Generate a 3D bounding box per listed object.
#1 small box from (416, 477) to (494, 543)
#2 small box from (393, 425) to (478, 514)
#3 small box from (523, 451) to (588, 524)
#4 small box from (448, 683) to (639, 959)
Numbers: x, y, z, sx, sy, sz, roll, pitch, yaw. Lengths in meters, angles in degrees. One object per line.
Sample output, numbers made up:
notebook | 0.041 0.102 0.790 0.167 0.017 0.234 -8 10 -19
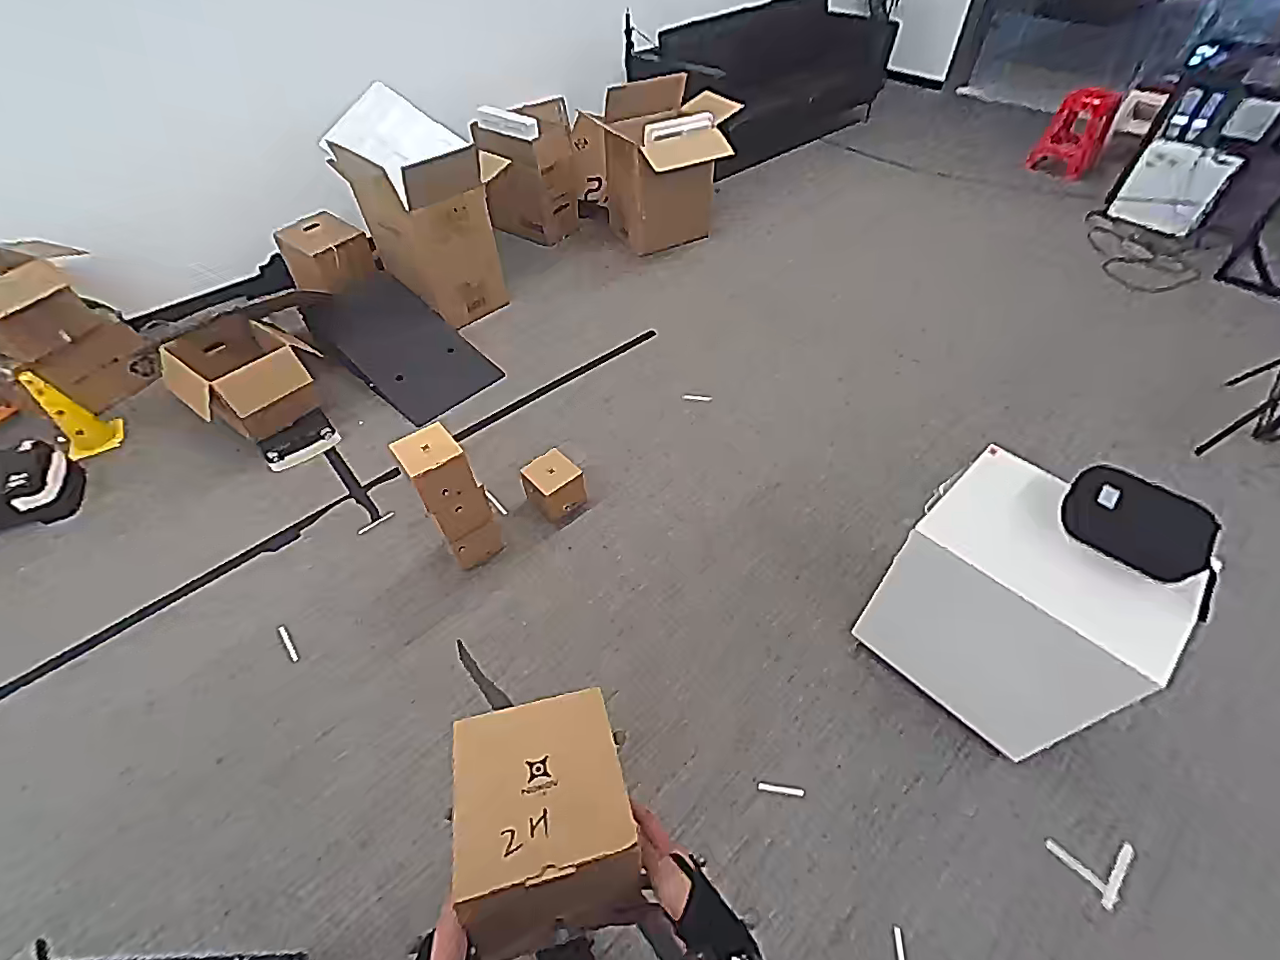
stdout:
small box | -0.606 0.076 1.775 0.179 0.176 0.168 -33 55 -26
small box | -0.622 -0.030 1.653 0.168 0.176 0.179 -32 55 -25
small box | -0.314 0.031 2.031 0.168 0.176 0.179 -36 58 -25
small box | -0.101 0.355 0.576 0.168 0.176 0.179 -9 34 -12
